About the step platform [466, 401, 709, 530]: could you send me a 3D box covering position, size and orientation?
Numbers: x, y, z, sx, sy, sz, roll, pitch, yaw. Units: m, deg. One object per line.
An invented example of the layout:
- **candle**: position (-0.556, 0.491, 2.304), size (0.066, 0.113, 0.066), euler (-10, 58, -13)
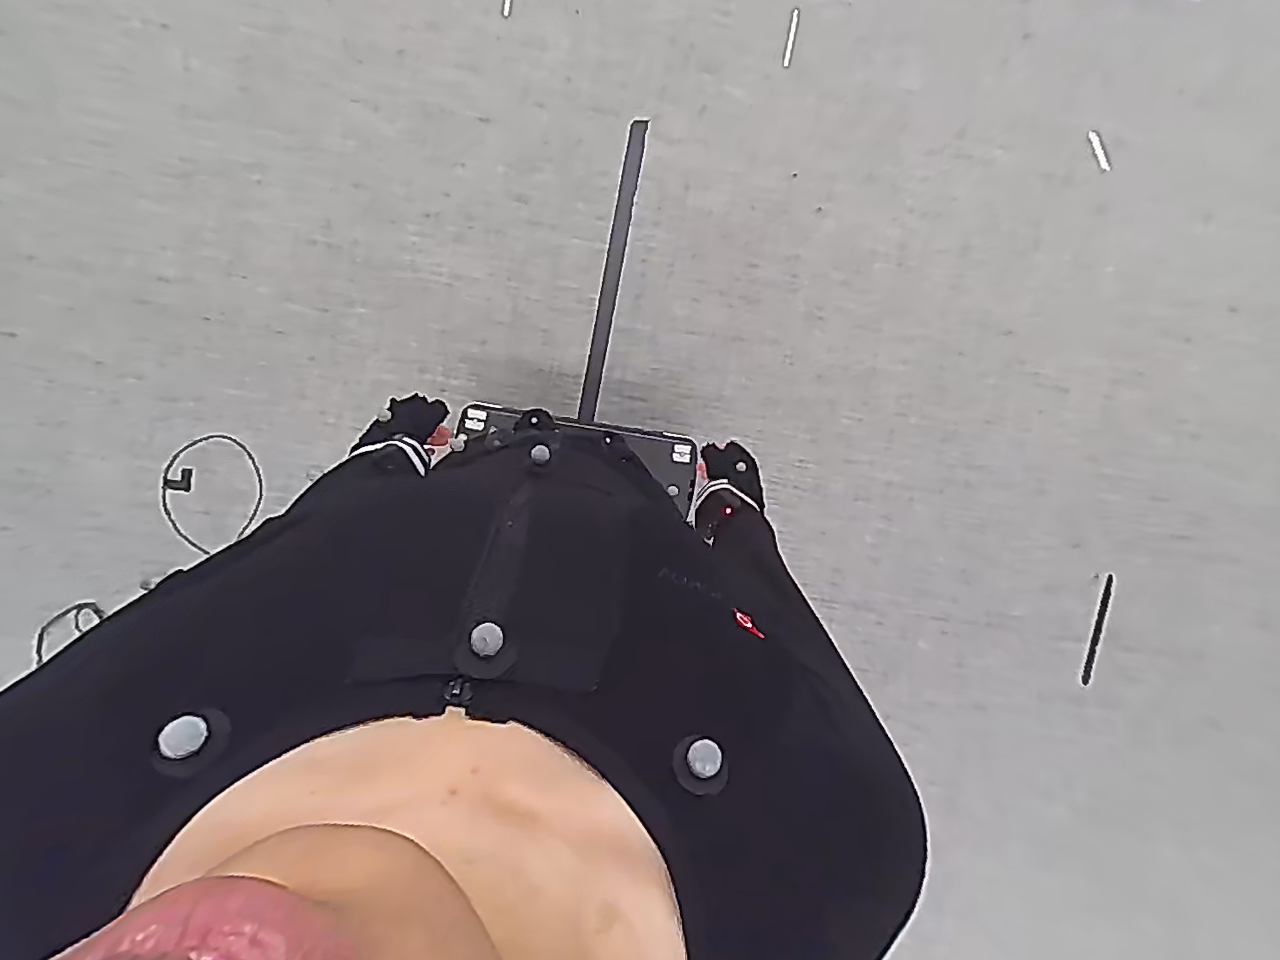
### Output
- **step platform**: position (-0.147, -0.042, 1.566), size (0.684, 0.204, 0.286), euler (8, 96, -6)
